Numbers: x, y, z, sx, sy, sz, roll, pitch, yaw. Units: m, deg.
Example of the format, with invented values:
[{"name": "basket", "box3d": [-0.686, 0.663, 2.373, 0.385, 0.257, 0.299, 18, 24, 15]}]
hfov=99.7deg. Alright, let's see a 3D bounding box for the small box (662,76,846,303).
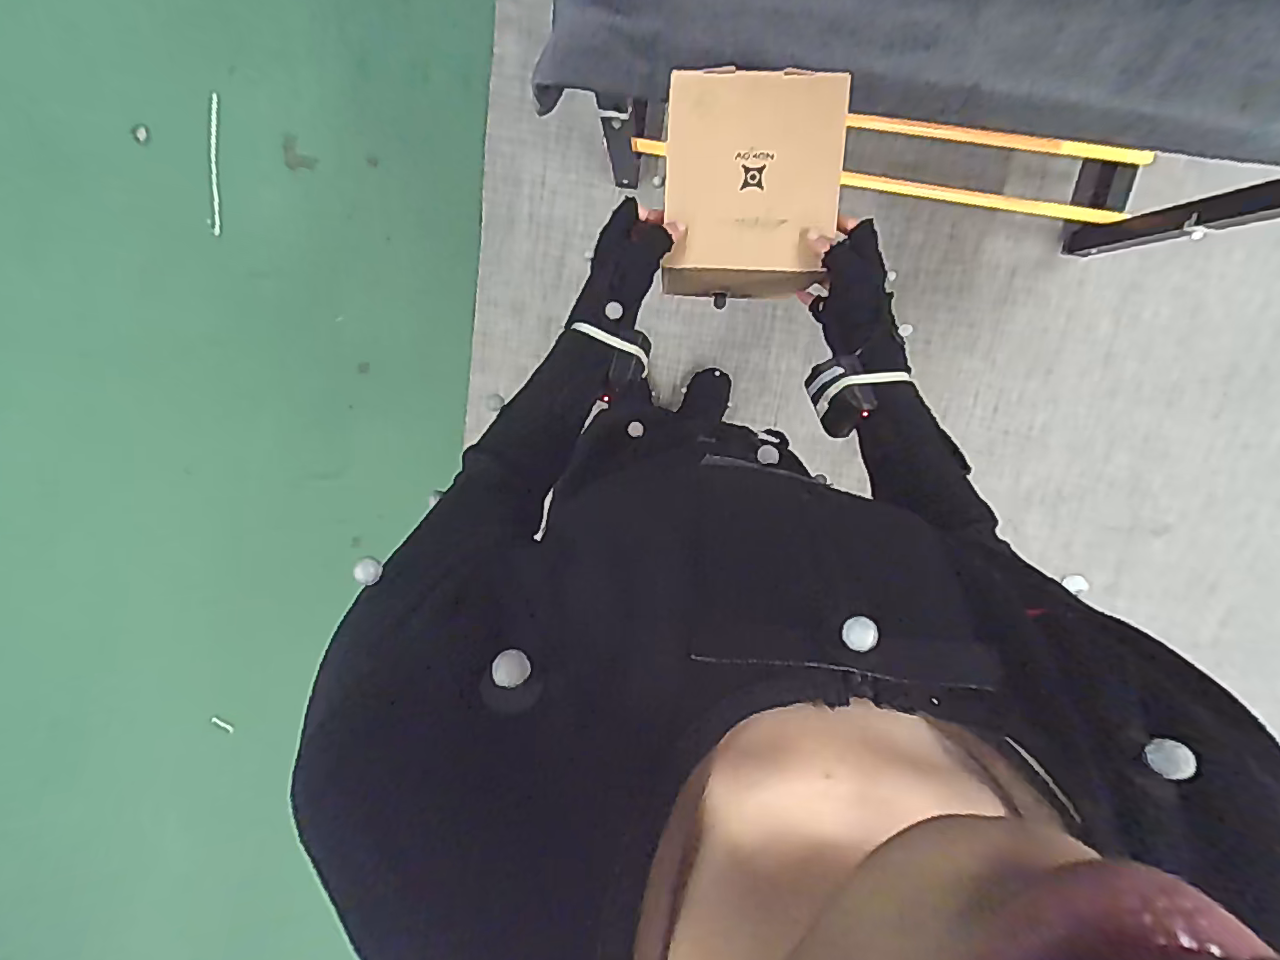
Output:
[{"name": "small box", "box3d": [0.111, -0.303, 0.597, 0.168, 0.176, 0.179, 3, 100, 3]}]
